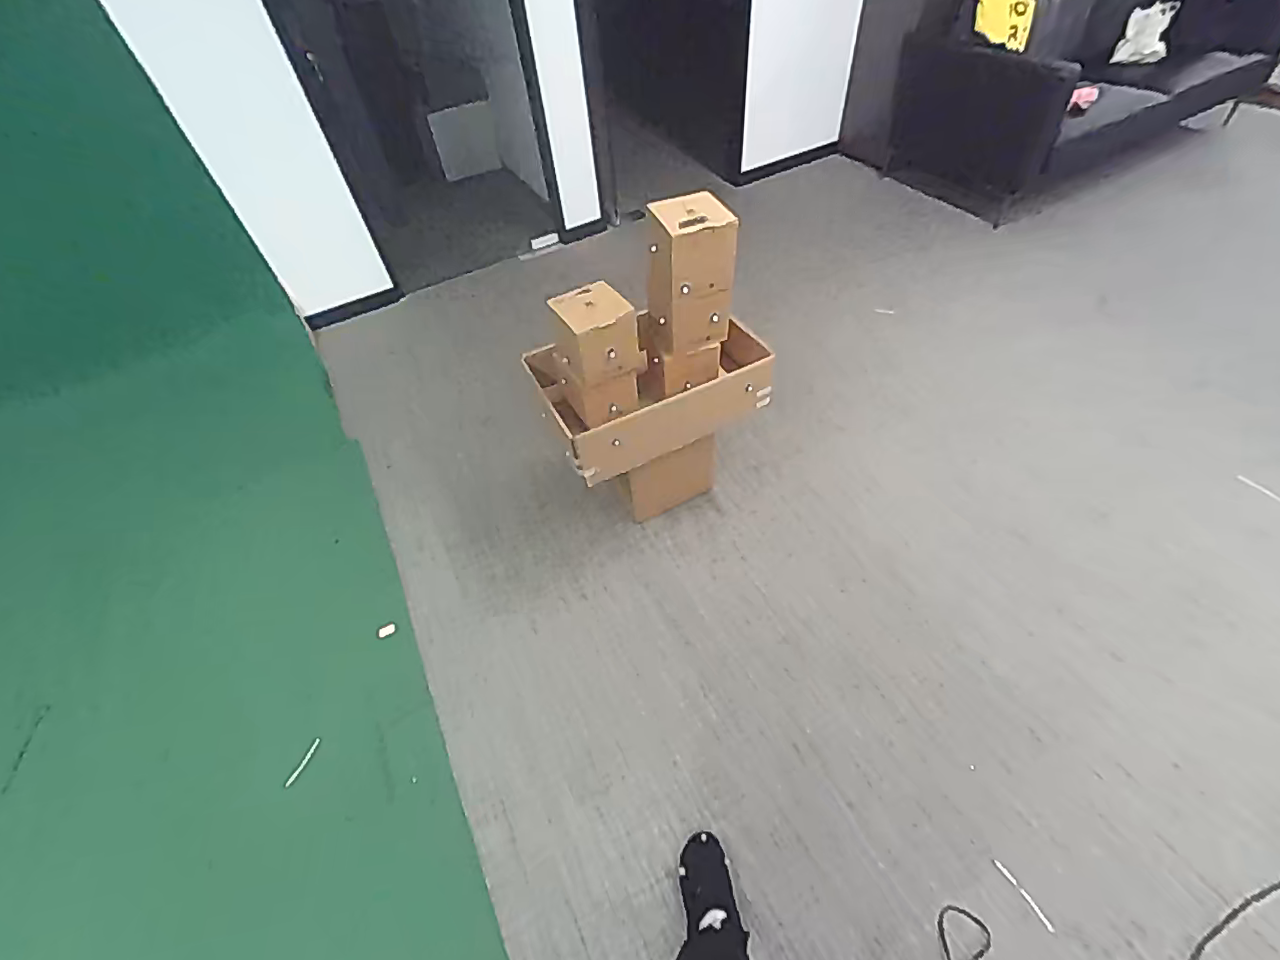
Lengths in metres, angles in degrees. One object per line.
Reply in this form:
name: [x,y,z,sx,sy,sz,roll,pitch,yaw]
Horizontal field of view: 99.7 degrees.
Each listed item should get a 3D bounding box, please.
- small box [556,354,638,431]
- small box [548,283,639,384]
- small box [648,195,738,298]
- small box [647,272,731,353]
small box: [-0.118,-0.269,1.520,0.168,0.176,0.179,-27,53,-16]
small box: [-0.114,-0.368,1.389,0.168,0.176,0.179,-26,54,-17]
small box: [0.126,-0.564,1.322,0.168,0.176,0.179,-16,50,-10]
small box: [0.130,-0.460,1.449,0.168,0.176,0.179,-19,51,-12]
